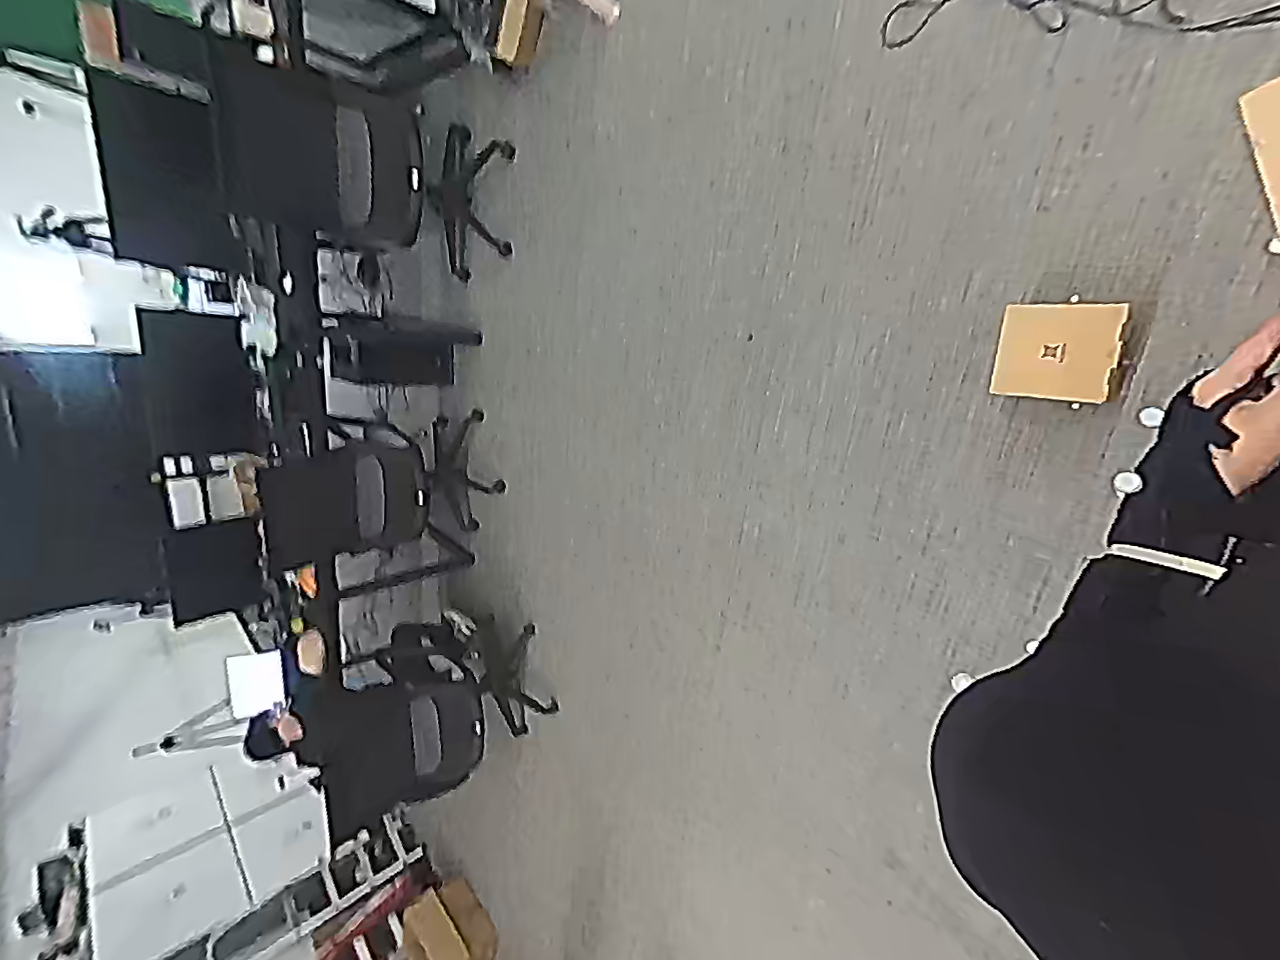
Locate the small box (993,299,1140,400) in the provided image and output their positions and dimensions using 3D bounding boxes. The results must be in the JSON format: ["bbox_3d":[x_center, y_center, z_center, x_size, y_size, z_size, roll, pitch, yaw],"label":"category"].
[{"bbox_3d":[0.790,-0.240,1.002,0.179,0.176,0.168,15,109,42],"label":"small box"}]
